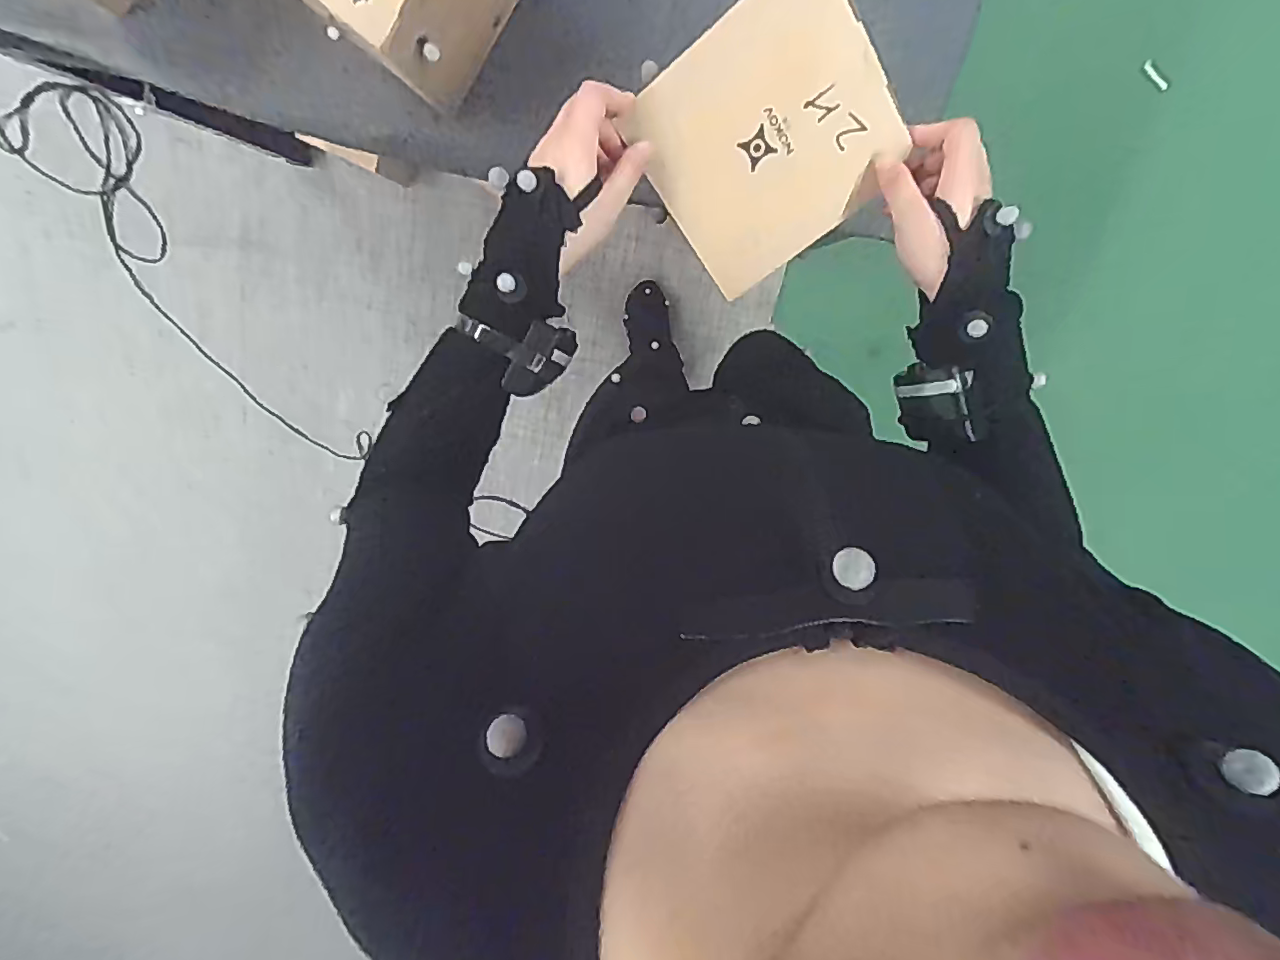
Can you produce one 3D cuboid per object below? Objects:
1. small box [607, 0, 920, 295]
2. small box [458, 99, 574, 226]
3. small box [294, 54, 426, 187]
[{"bbox_3d":[0.095,-0.290,0.466,0.179,0.176,0.168,-33,112,18],"label":"small box"},{"bbox_3d":[-0.265,-0.686,1.196,0.179,0.176,0.168,31,105,-7],"label":"small box"},{"bbox_3d":[-0.602,-0.766,1.178,0.179,0.176,0.168,23,107,-5],"label":"small box"}]
